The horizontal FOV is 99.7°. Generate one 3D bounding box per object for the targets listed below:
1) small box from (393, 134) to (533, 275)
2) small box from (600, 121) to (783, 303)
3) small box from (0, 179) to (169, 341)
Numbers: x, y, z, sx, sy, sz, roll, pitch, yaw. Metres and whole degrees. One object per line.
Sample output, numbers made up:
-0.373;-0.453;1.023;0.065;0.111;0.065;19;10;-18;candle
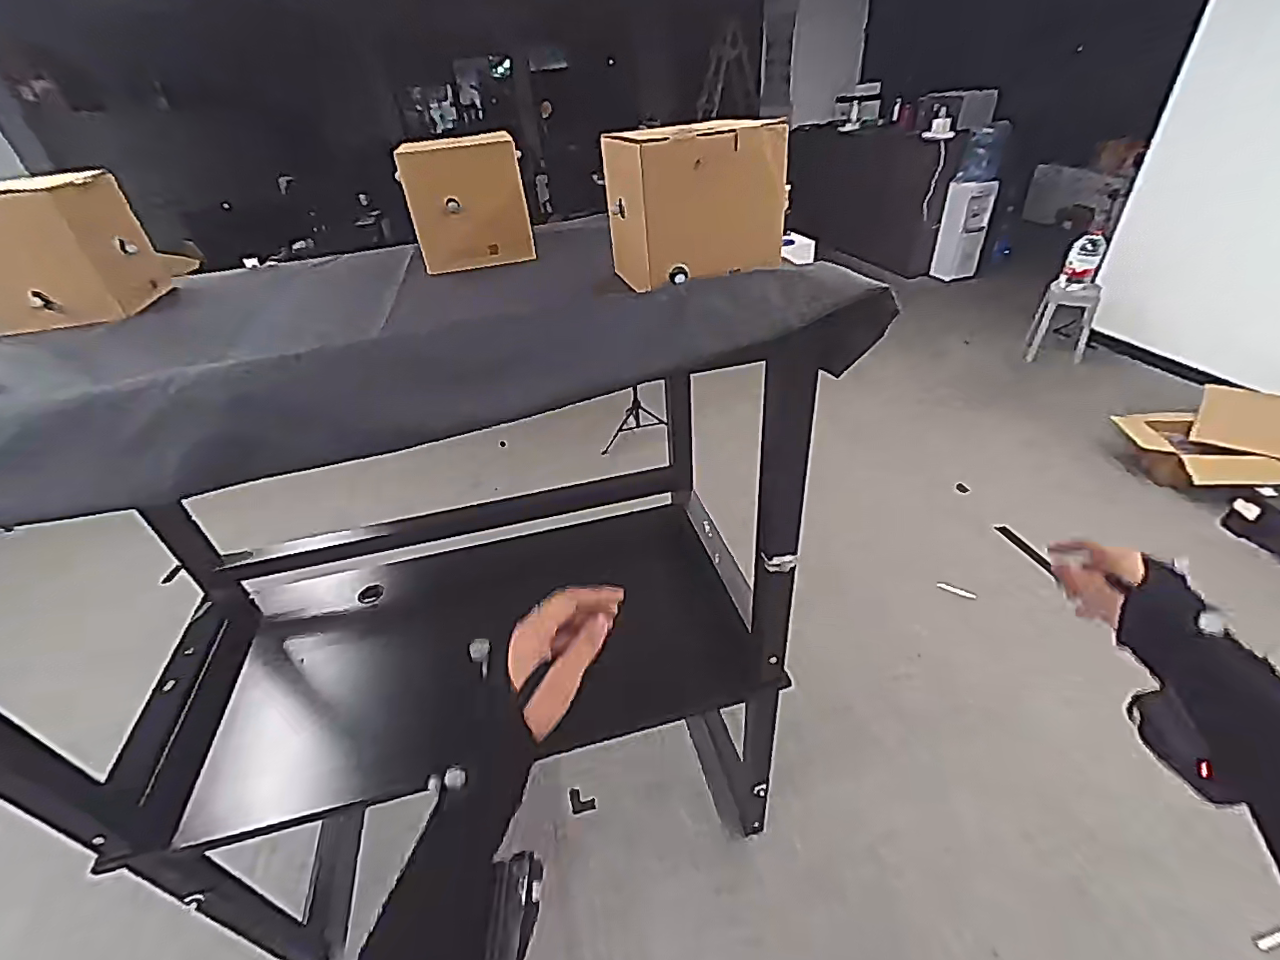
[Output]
-0.272;-0.436;0.860;0.168;0.176;0.179;-13;37;-9;small box
0.059;-0.326;0.661;0.168;0.176;0.179;-14;36;-11;small box
-0.827;-0.312;0.761;0.179;0.176;0.168;-12;37;-11;small box
